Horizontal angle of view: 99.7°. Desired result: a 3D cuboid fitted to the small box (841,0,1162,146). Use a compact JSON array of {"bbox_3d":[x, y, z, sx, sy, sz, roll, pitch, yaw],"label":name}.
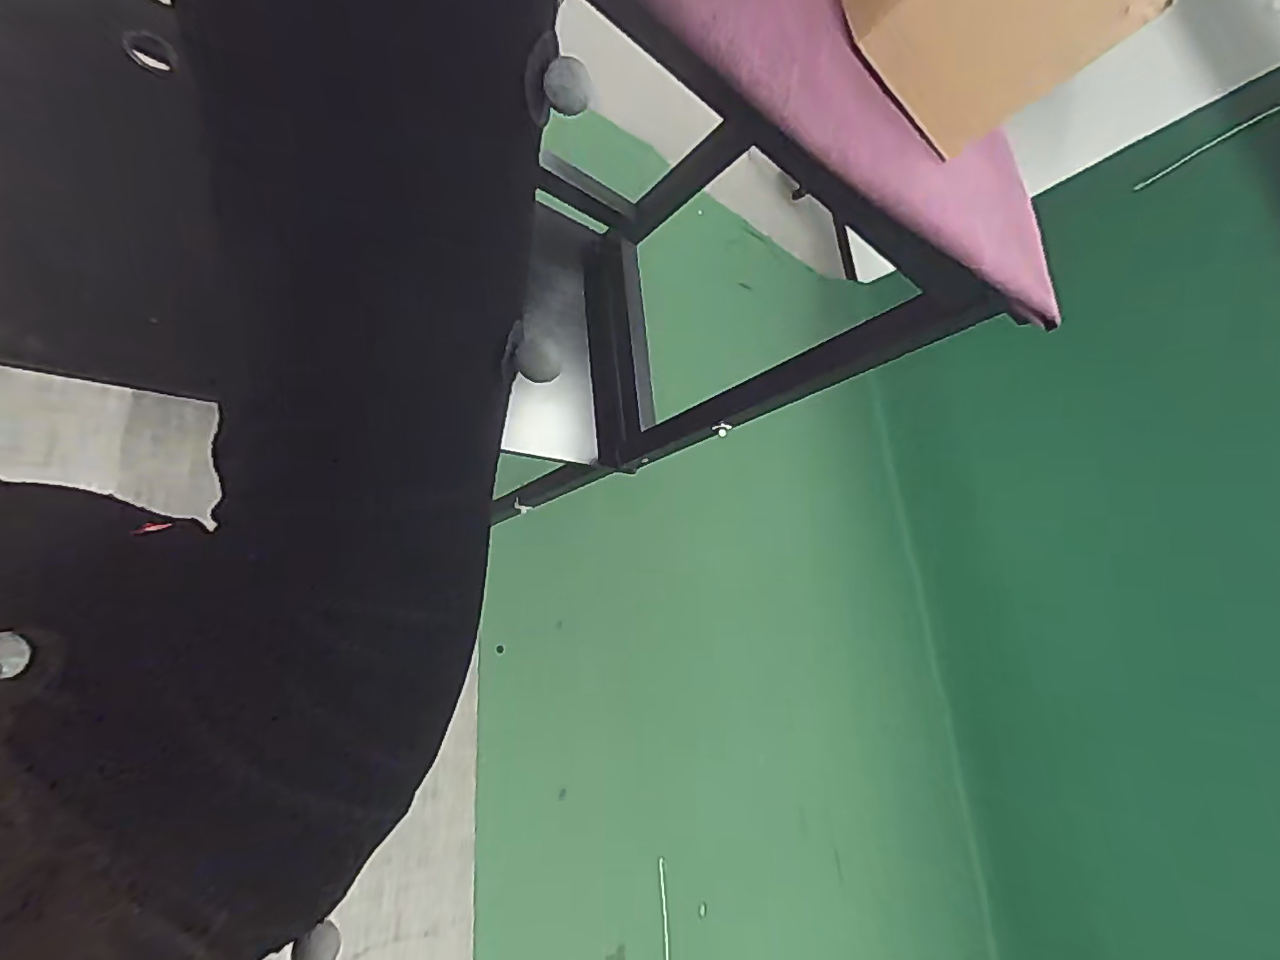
[{"bbox_3d":[0.269,-0.419,0.431,0.179,0.176,0.168,11,65,-40],"label":"small box"}]
